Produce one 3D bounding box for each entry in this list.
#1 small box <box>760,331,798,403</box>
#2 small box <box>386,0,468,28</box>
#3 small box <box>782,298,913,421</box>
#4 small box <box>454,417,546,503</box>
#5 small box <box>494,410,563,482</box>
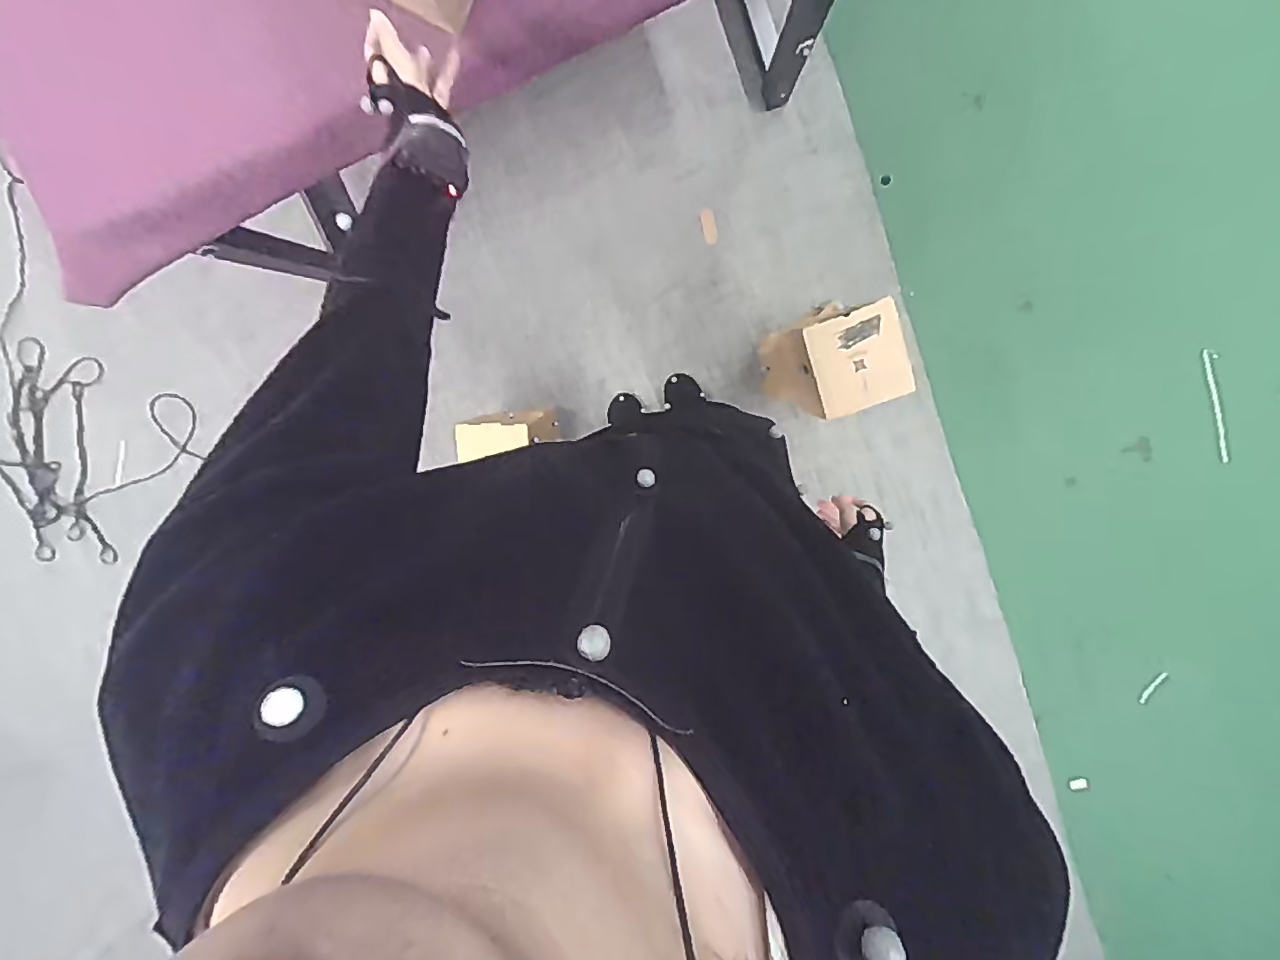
[{"bbox_3d":[0.403,-0.292,1.354,0.179,0.176,0.168,-11,102,5],"label":"small box"},{"bbox_3d":[-0.262,-0.628,0.560,0.179,0.176,0.168,28,102,-3],"label":"small box"},{"bbox_3d":[0.386,-0.227,1.032,0.168,0.176,0.179,-19,102,6],"label":"small box"},{"bbox_3d":[-0.322,-0.051,1.276,0.168,0.176,0.179,0,102,4],"label":"small box"},{"bbox_3d":[-0.308,-0.091,1.432,0.168,0.176,0.179,-6,103,4],"label":"small box"}]
